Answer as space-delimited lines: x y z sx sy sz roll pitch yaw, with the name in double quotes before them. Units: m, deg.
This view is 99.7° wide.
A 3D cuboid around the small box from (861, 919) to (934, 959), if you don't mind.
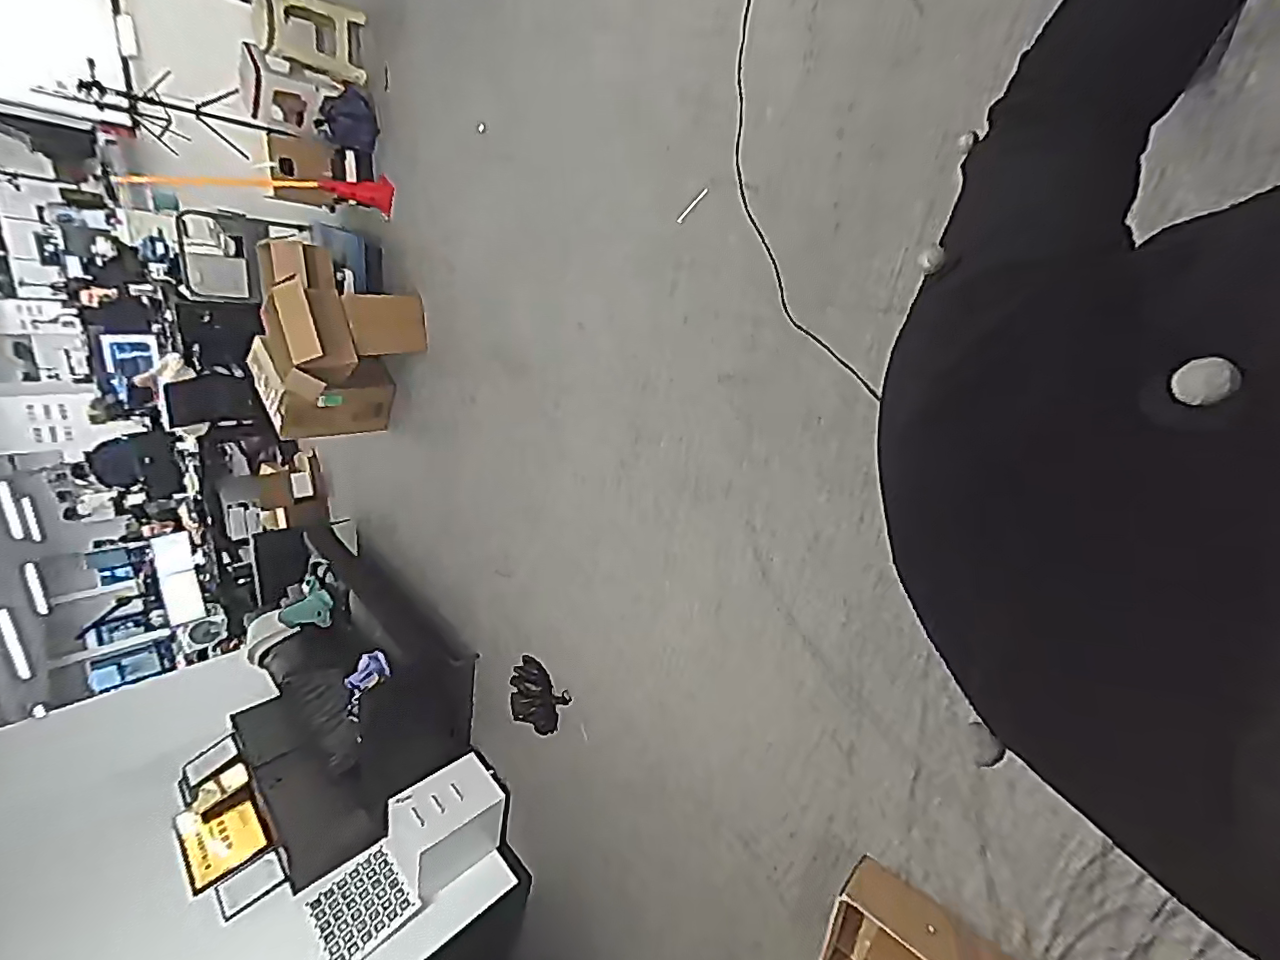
"small box" 0.743 1.452 1.576 0.179 0.176 0.168 23 116 39
